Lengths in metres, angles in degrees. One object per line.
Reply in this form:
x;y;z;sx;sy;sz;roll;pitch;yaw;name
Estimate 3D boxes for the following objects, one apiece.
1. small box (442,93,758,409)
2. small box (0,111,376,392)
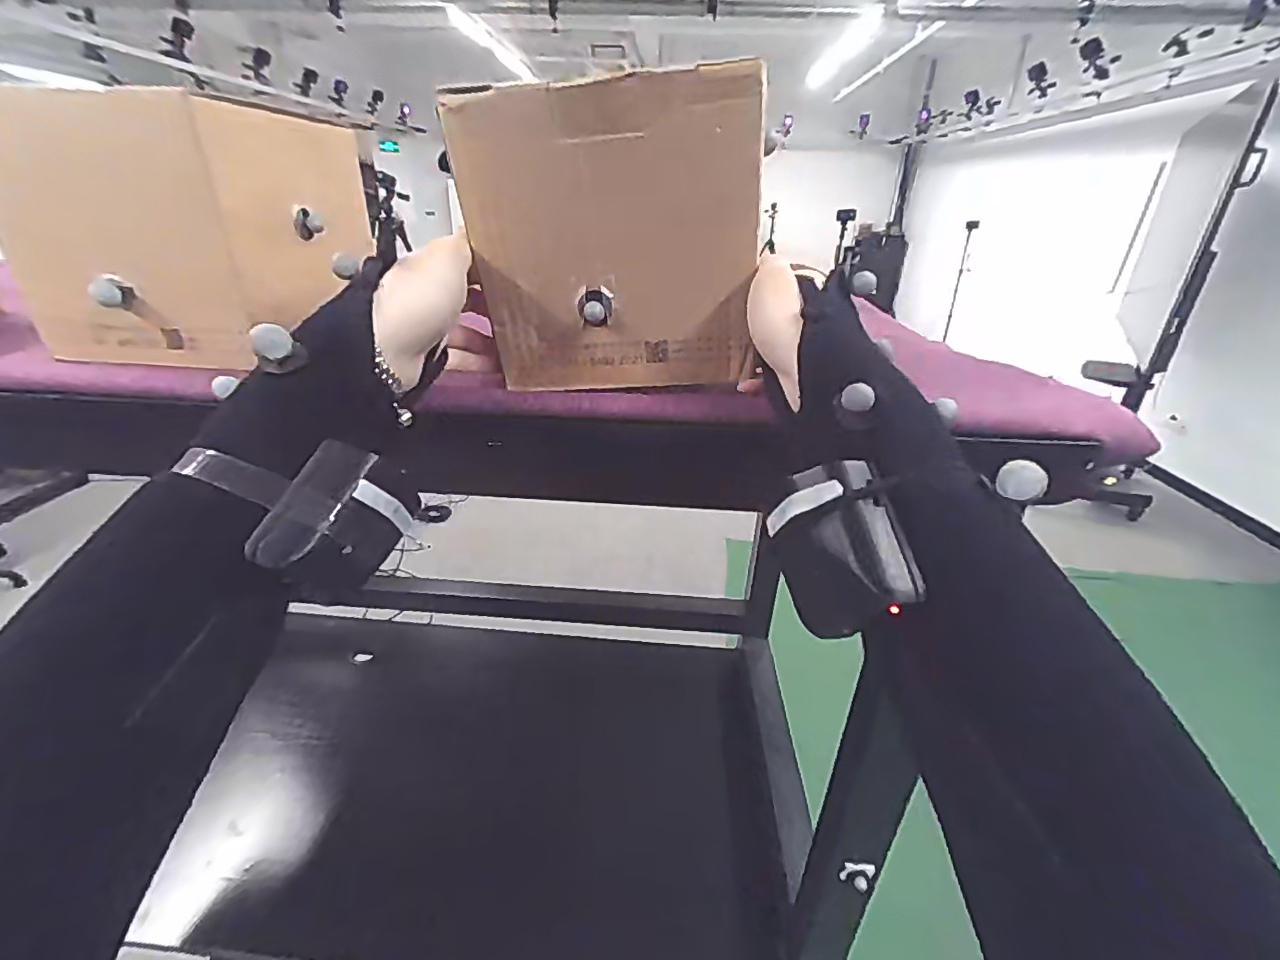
-0.011;-0.163;0.383;0.168;0.176;0.179;-2;35;6;small box
-0.336;-0.181;0.431;0.168;0.176;0.179;4;29;4;small box
